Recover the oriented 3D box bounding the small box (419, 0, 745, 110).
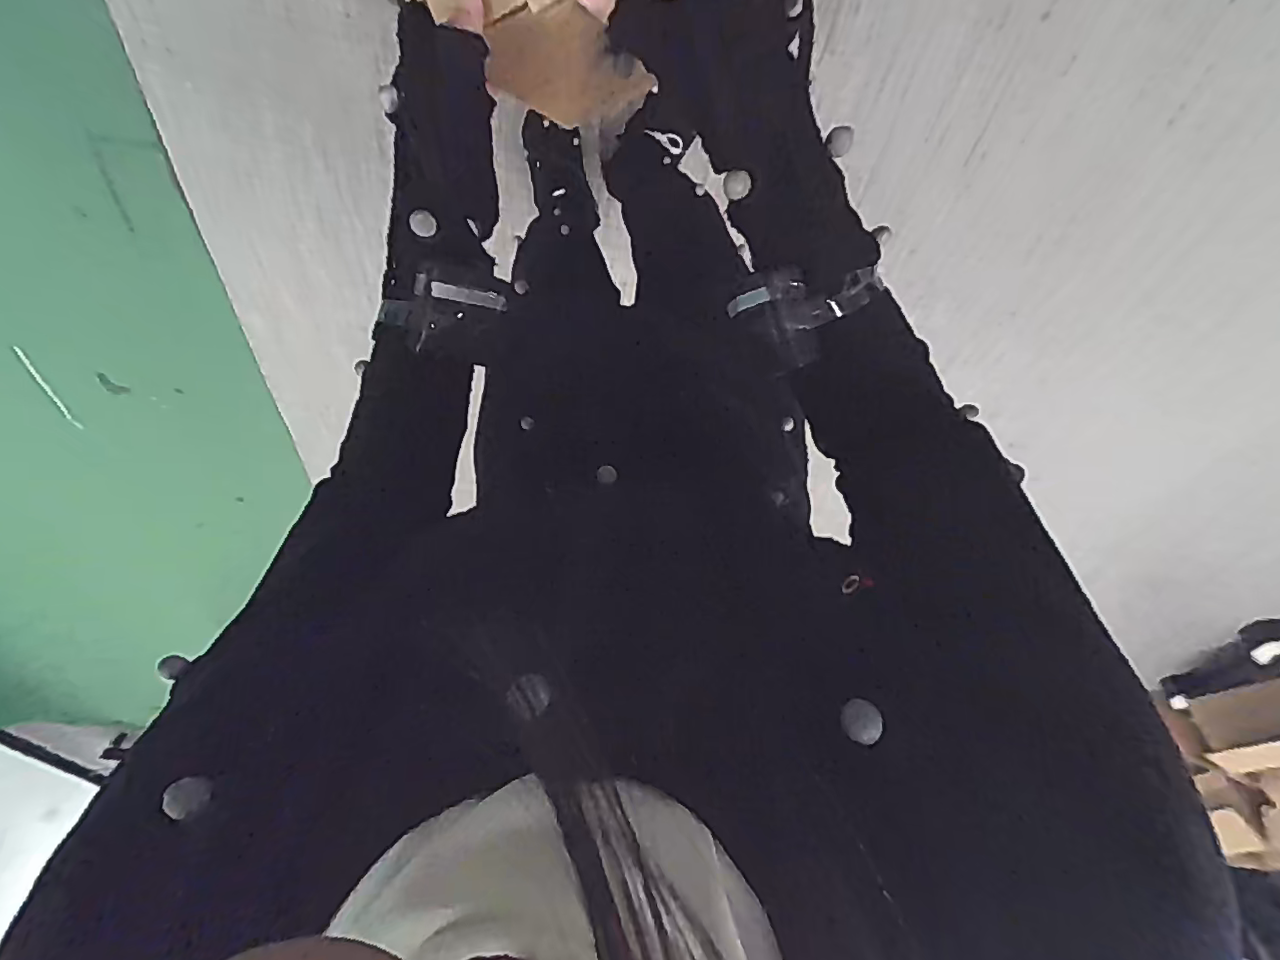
[{"bbox_3d":[-0.042,-0.365,0.338,0.168,0.176,0.179,-11,106,24],"label":"small box"}]

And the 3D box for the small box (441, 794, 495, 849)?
[{"bbox_3d":[-0.693,1.394,2.205,0.179,0.176,0.168,8,137,-5],"label":"small box"}]
